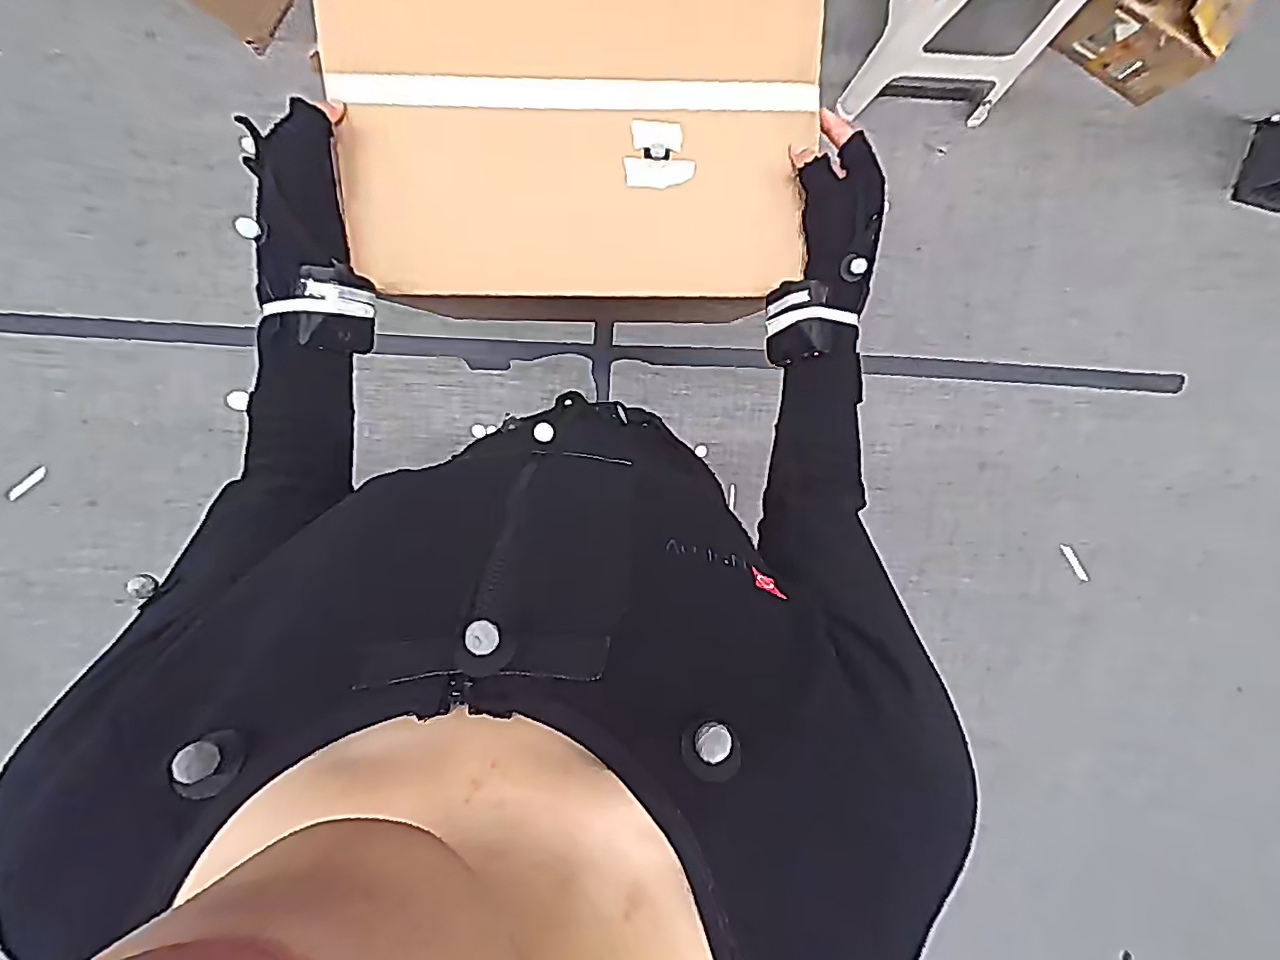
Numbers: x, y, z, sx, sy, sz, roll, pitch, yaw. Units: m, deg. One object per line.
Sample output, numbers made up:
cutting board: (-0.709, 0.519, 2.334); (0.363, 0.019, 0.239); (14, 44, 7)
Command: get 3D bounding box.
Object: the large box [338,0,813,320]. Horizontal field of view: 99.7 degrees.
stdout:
large box: (-0.059, -0.357, 0.613); (0.408, 0.320, 0.320); (-1, 103, -3)
